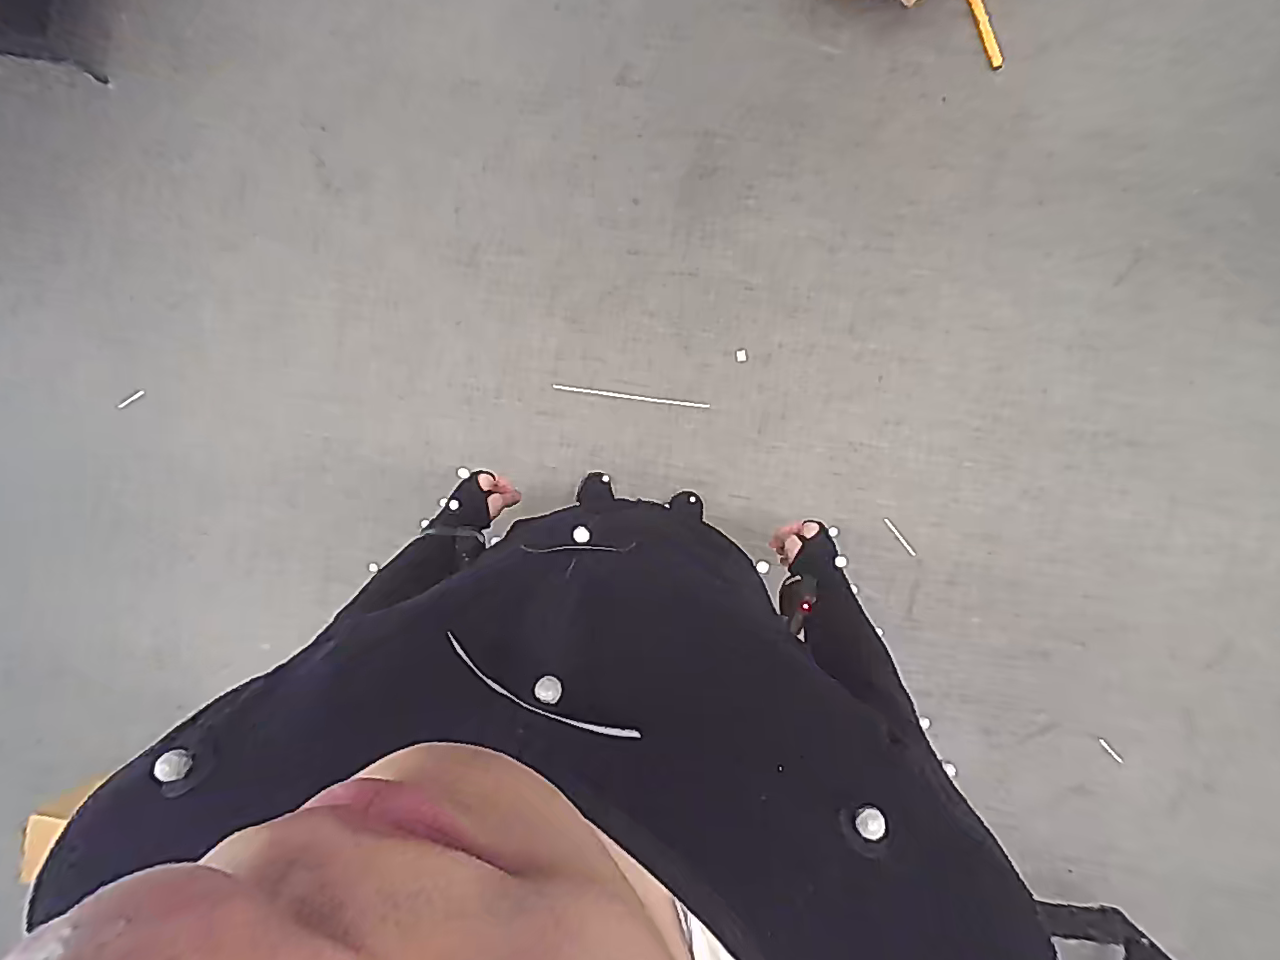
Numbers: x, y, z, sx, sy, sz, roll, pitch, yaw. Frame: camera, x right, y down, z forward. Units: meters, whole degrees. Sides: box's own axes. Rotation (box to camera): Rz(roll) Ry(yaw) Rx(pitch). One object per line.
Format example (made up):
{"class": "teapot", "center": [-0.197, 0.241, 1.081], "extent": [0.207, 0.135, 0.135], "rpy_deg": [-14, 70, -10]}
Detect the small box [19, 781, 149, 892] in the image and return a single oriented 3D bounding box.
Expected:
{"class": "small box", "center": [-1.456, 0.929, 1.427], "extent": [0.168, 0.176, 0.179], "rpy_deg": [8, 91, 2]}

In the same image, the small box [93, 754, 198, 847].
{"class": "small box", "center": [-1.459, 0.933, 1.590], "extent": [0.179, 0.176, 0.168], "rpy_deg": [10, 89, 1]}
